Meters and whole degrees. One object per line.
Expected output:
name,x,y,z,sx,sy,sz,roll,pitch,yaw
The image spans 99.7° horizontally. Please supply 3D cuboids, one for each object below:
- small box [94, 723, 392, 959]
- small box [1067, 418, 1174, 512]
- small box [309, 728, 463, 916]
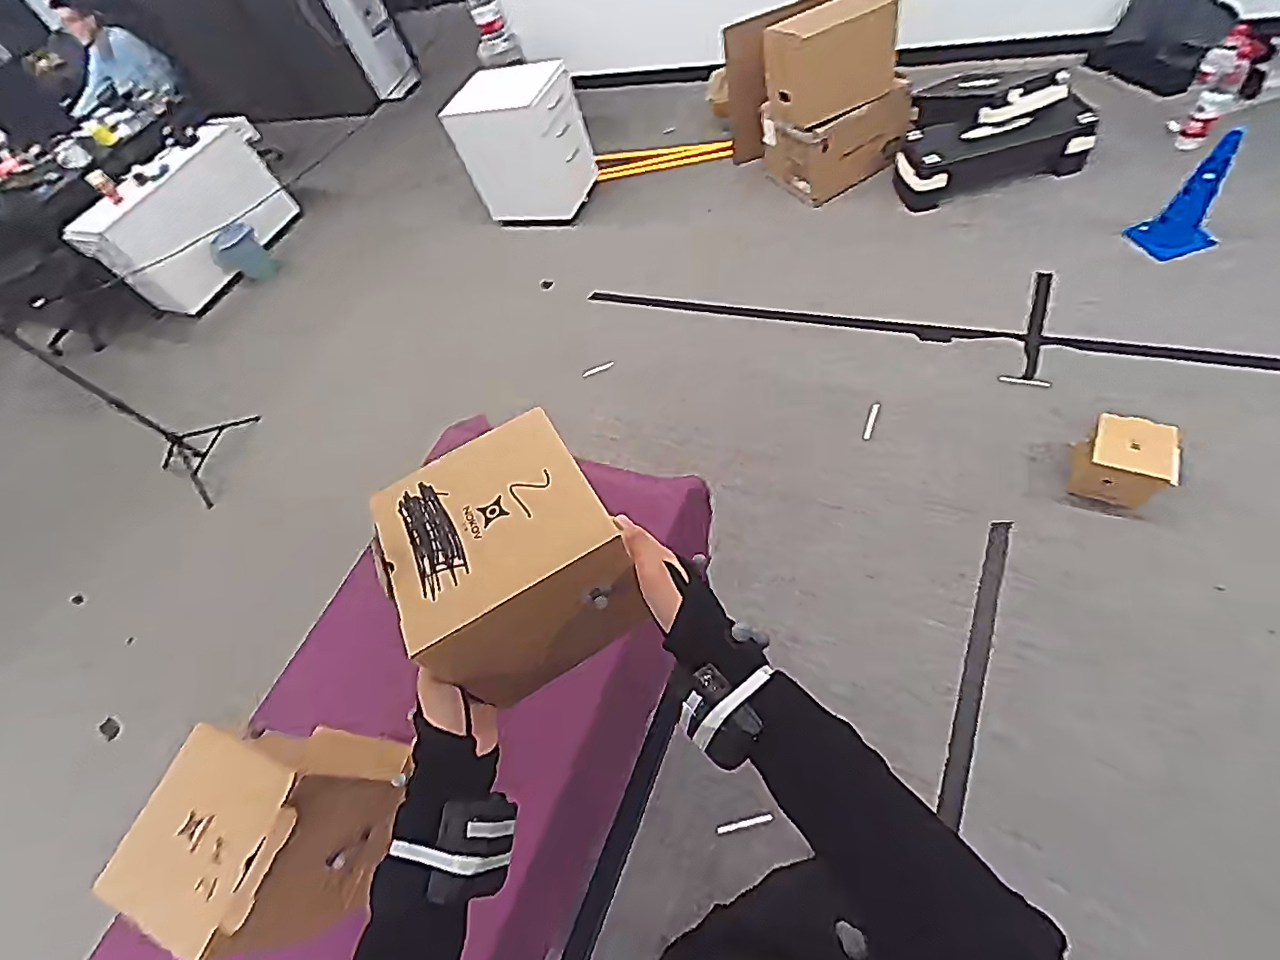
small box,-0.433,0.401,0.619,0.179,0.176,0.168,9,62,21
small box,1.308,-0.037,1.483,0.168,0.176,0.179,19,65,25
small box,-0.379,0.471,0.760,0.168,0.176,0.179,5,59,19
